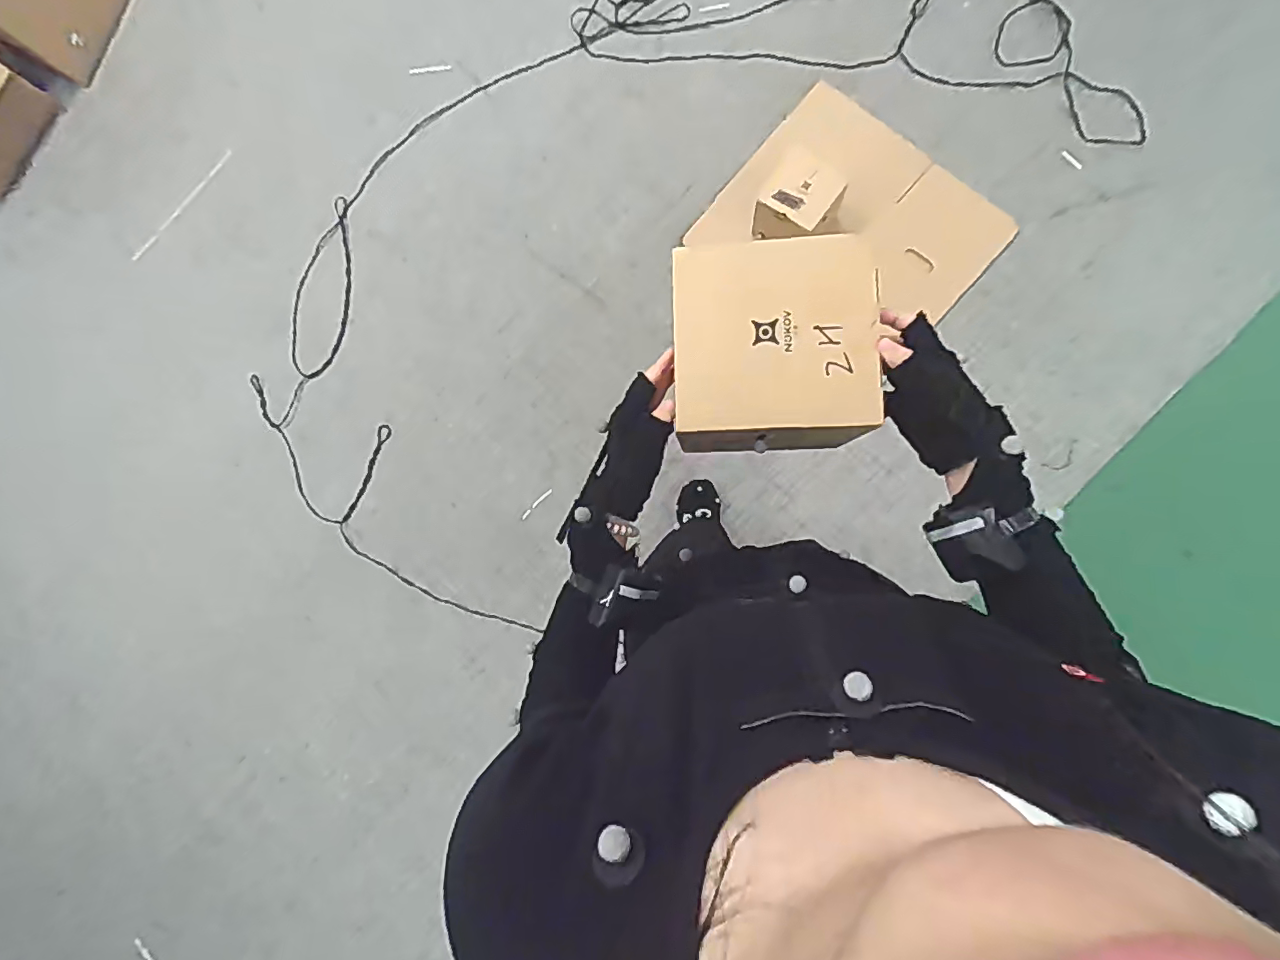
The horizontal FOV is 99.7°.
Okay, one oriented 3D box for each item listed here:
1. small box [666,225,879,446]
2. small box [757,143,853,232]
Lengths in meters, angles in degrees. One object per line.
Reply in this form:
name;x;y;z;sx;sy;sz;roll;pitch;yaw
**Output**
small box;0.120;-0.126;0.537;0.179;0.176;0.168;-1;87;7
small box;0.422;-0.724;1.422;0.168;0.176;0.179;37;90;8
